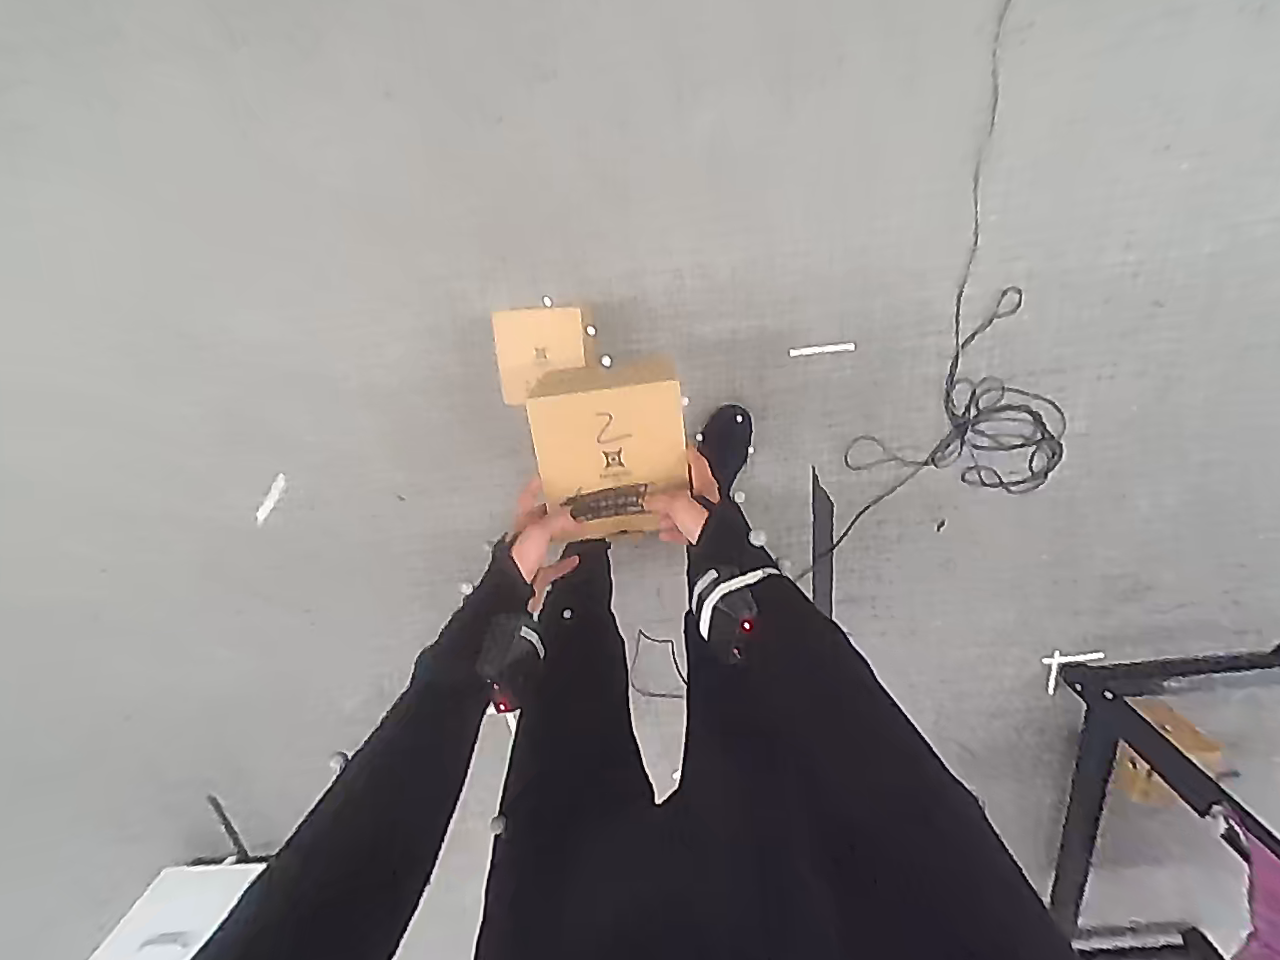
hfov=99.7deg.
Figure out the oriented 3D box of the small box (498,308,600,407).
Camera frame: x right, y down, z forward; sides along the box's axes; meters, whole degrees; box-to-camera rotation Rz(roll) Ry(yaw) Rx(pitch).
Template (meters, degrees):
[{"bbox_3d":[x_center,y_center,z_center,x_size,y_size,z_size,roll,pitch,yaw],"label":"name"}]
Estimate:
[{"bbox_3d":[-0.174,-0.251,1.083,0.168,0.176,0.179,-1,110,3],"label":"small box"}]
